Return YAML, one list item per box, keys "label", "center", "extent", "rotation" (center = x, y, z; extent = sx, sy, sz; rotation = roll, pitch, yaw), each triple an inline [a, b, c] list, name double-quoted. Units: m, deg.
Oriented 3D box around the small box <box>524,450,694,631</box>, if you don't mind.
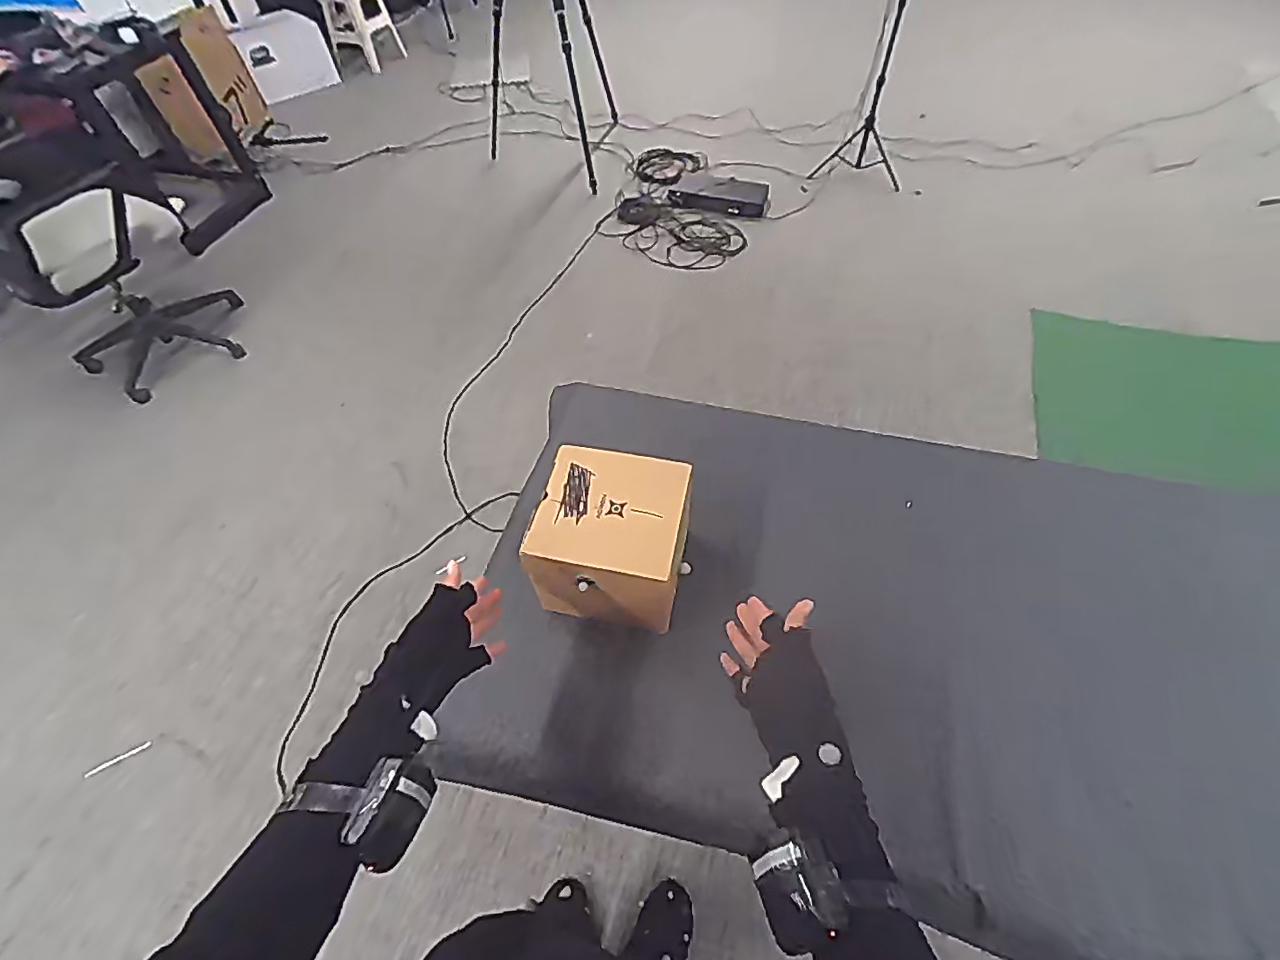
- label: "small box"
  center: [-0.030, 0.085, 0.718]
  extent: [0.179, 0.176, 0.168]
  rotation: [9, 56, 8]
